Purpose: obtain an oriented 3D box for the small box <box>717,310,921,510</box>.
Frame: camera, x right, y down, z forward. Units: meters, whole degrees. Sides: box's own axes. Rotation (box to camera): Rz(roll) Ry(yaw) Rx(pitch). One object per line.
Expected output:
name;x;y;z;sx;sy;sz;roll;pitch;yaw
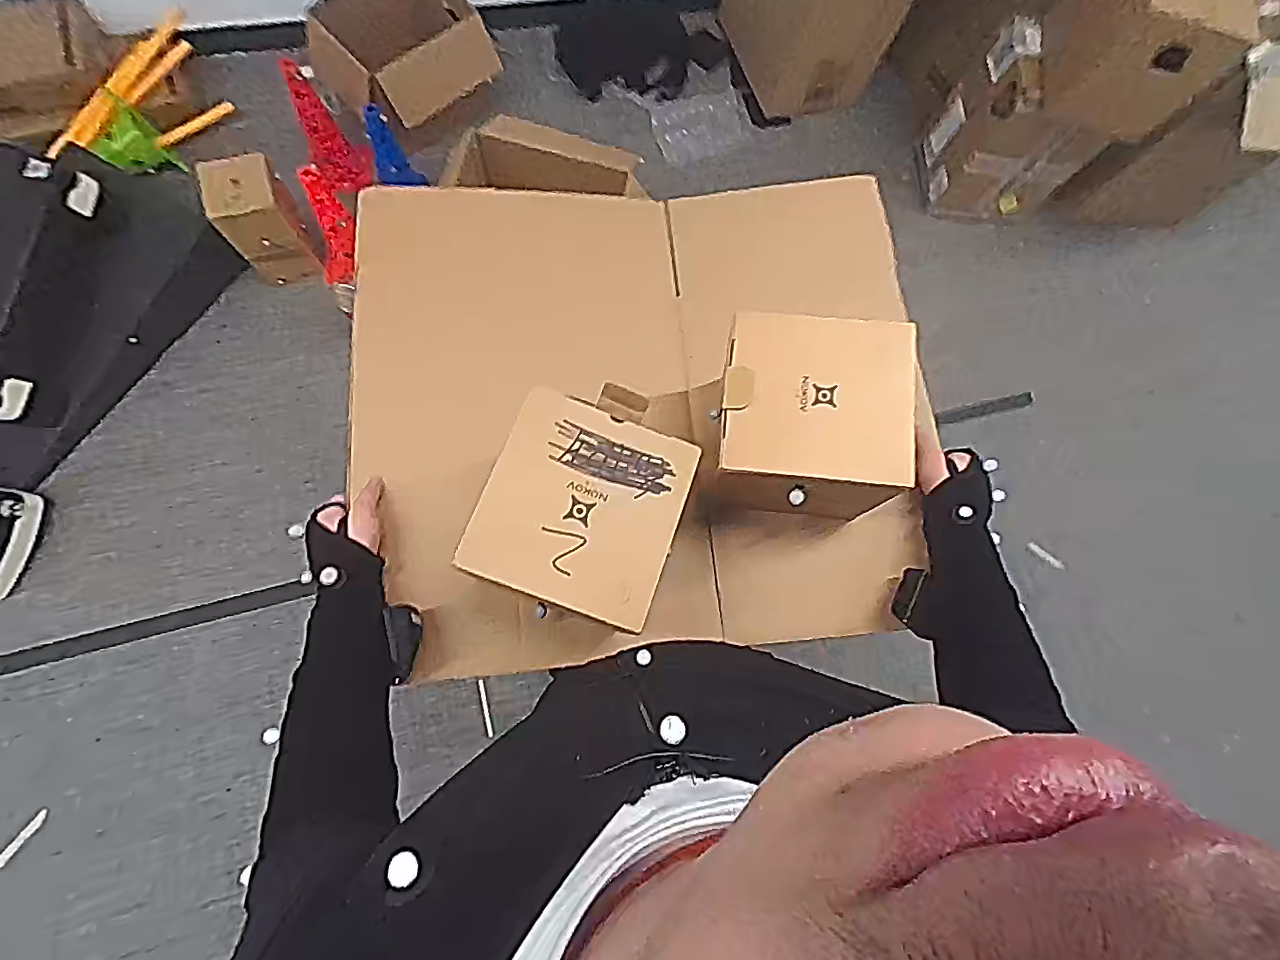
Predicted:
small box;0.185;-0.065;0.599;0.179;0.176;0.168;7;77;7
